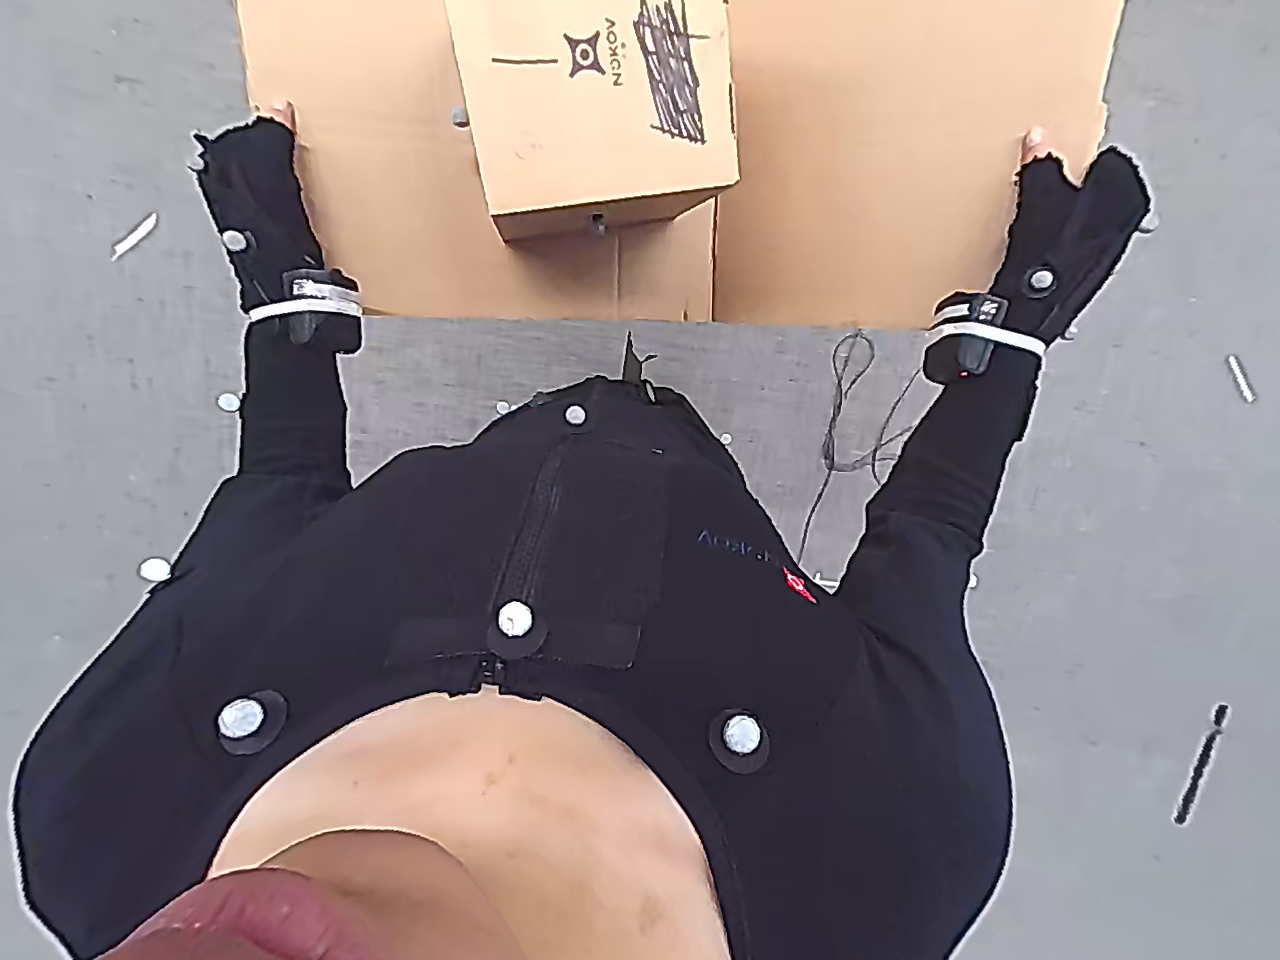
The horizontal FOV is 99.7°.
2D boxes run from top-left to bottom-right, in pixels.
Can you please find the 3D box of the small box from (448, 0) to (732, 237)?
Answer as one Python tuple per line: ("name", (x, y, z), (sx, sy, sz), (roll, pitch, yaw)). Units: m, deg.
("small box", (-0.042, -0.295, 0.425), (0.179, 0.176, 0.168), (-11, 110, -7))
